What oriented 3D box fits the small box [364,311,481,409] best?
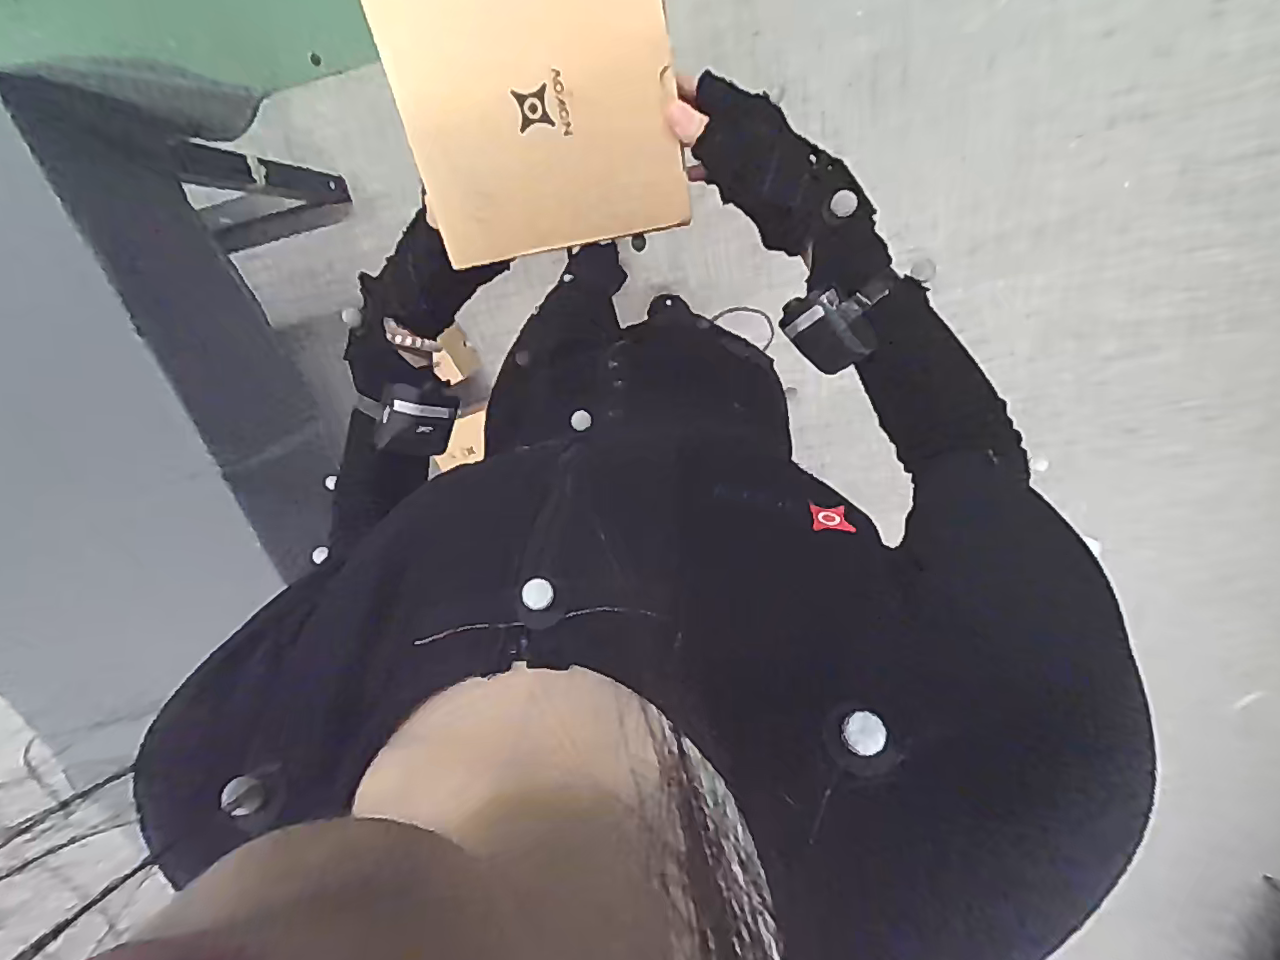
[{"bbox_3d":[-0.526,-0.300,1.333,0.179,0.176,0.168,-23,111,12],"label":"small box"}]

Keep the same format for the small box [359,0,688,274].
[{"bbox_3d":[-0.068,-0.267,0.411,0.179,0.176,0.168,-11,120,2],"label":"small box"}]
